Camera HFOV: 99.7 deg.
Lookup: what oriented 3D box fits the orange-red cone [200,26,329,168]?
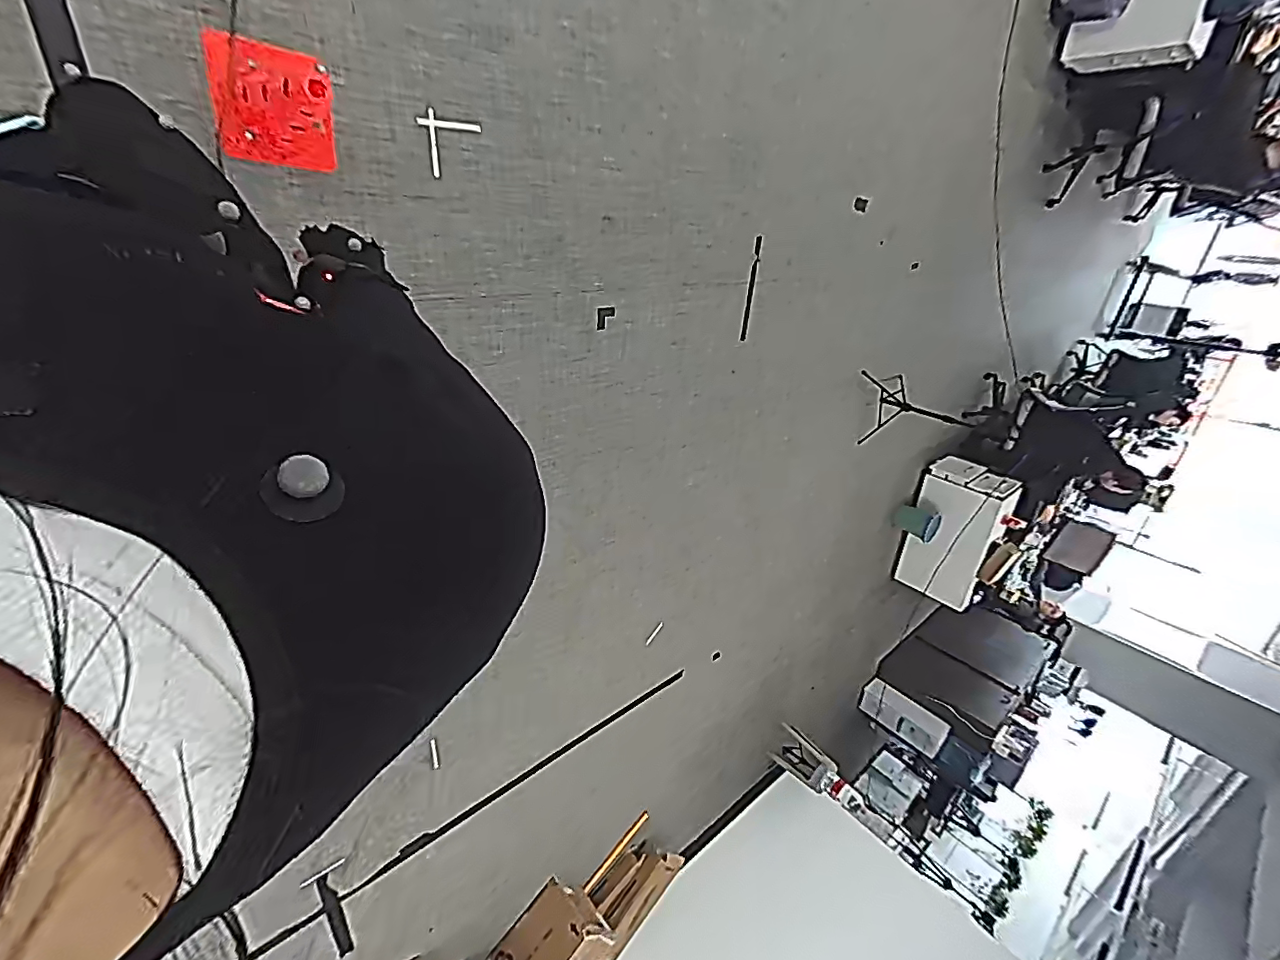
[{"bbox_3d":[-0.604,-0.661,0.933,0.199,0.360,0.198,-13,122,-41],"label":"orange-red cone"}]

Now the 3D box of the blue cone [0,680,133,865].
[{"bbox_3d":[-1.175,0.606,1.101,0.192,0.380,0.193,-12,120,-38],"label":"blue cone"}]
